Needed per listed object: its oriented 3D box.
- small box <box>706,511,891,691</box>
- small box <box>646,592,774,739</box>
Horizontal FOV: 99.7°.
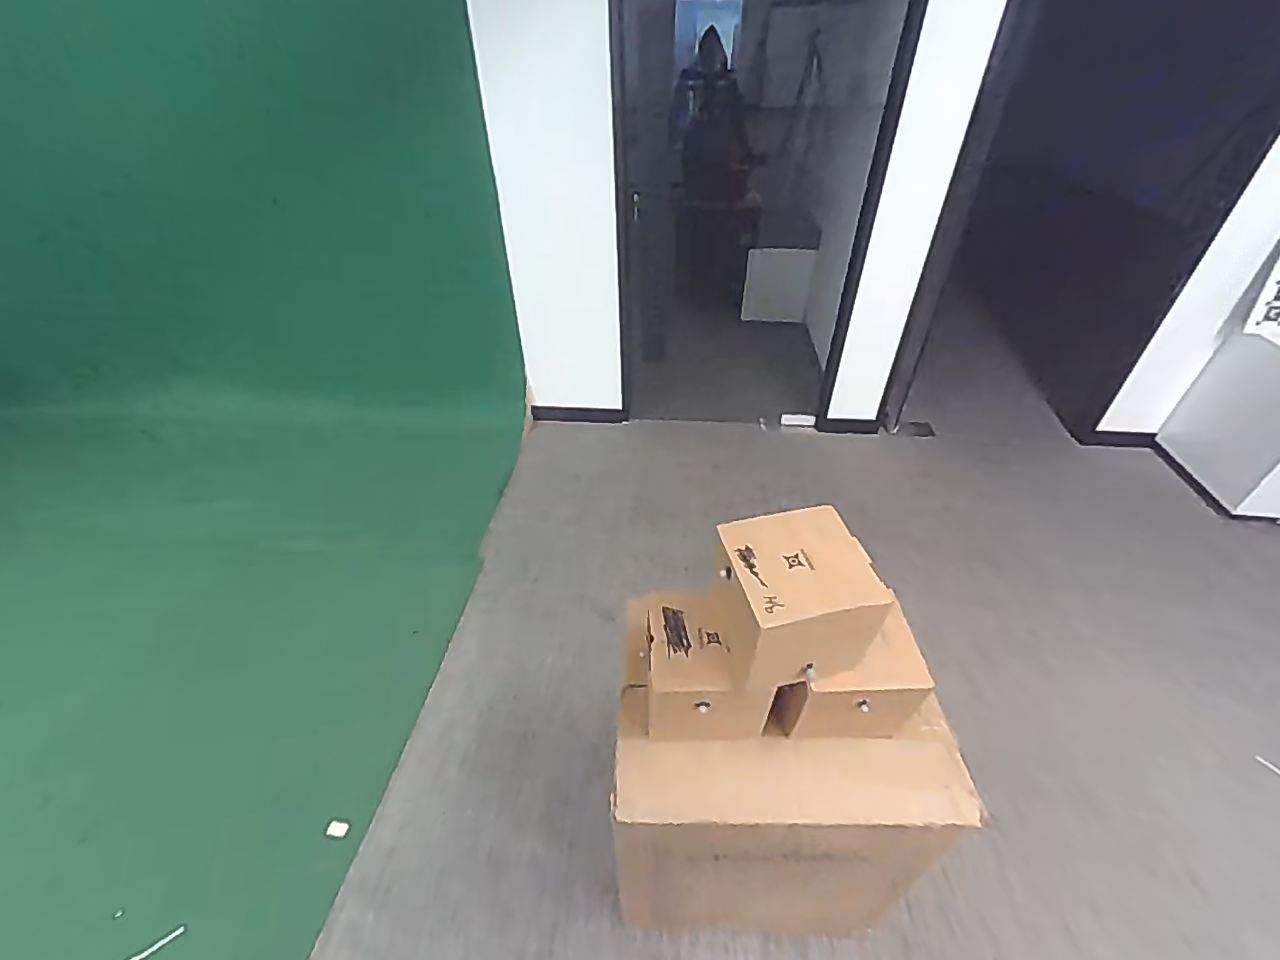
[{"bbox_3d":[0.203,0.168,0.750,0.179,0.176,0.168,-8,44,-10],"label":"small box"},{"bbox_3d":[0.099,0.294,0.854,0.179,0.176,0.168,0,43,-1],"label":"small box"}]
